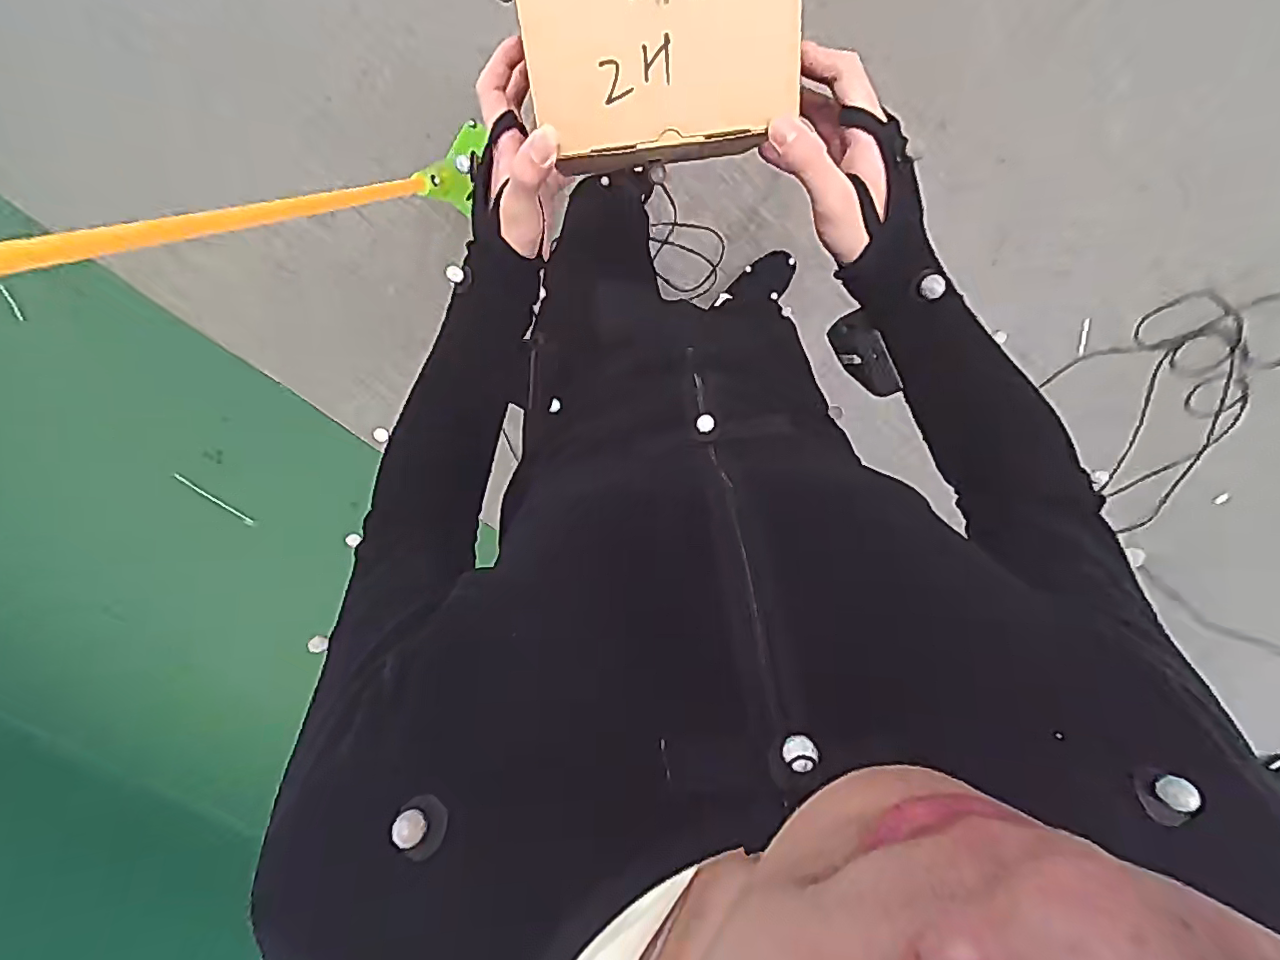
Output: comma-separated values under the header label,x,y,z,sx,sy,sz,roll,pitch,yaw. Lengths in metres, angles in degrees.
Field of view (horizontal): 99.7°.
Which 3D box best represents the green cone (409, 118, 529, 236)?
label,x,y,z,sx,sy,sz,roll,pitch,yaw
green cone,-0.420,-0.663,1.206,0.202,0.368,0.200,38,118,-16
